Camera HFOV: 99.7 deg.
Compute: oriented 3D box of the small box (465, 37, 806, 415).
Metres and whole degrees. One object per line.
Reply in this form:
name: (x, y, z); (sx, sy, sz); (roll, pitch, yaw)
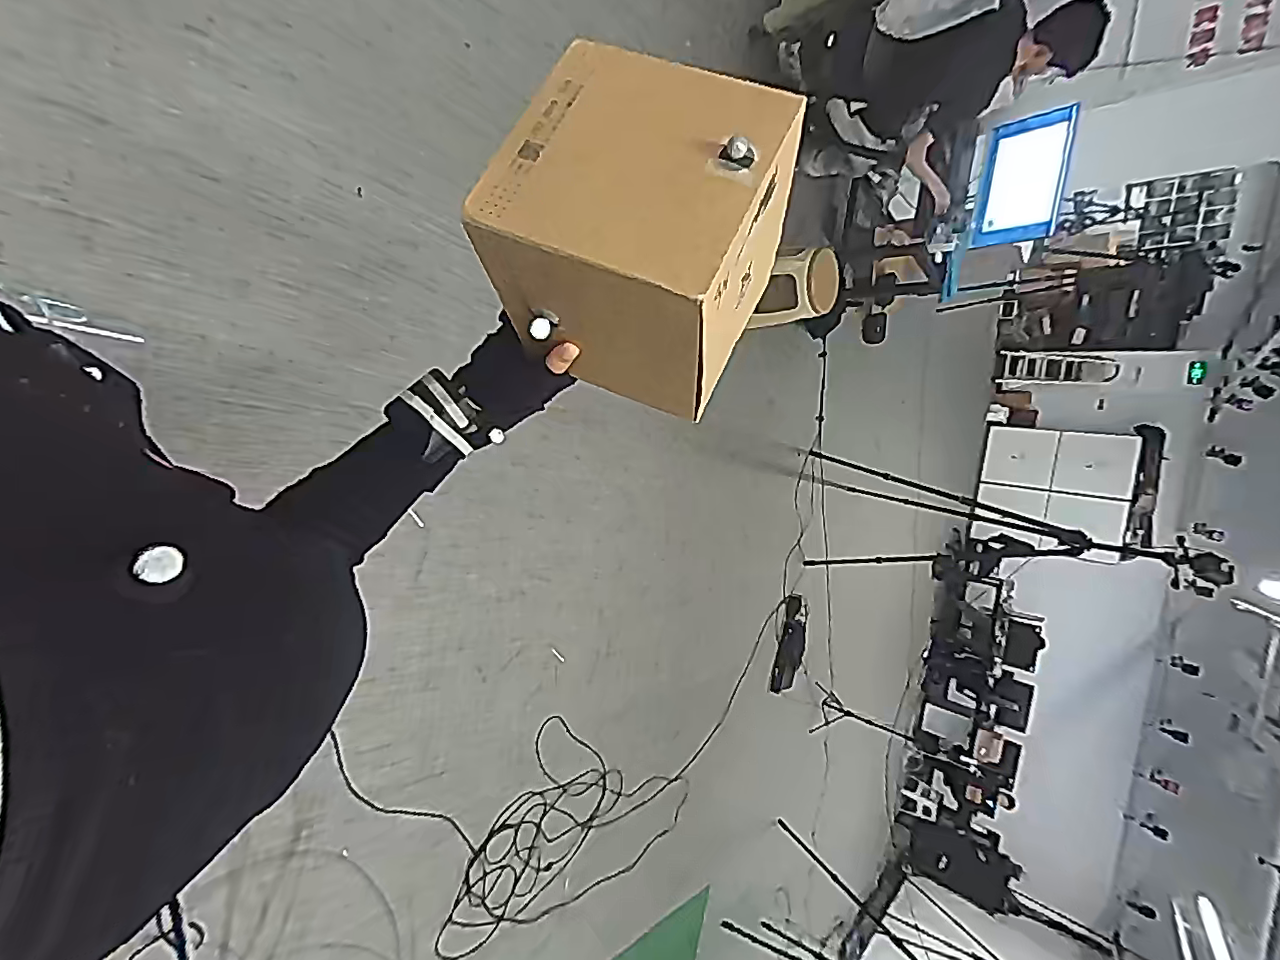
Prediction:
small box: (0.000, -0.181, 0.414); (0.179, 0.176, 0.168); (80, 35, -73)
